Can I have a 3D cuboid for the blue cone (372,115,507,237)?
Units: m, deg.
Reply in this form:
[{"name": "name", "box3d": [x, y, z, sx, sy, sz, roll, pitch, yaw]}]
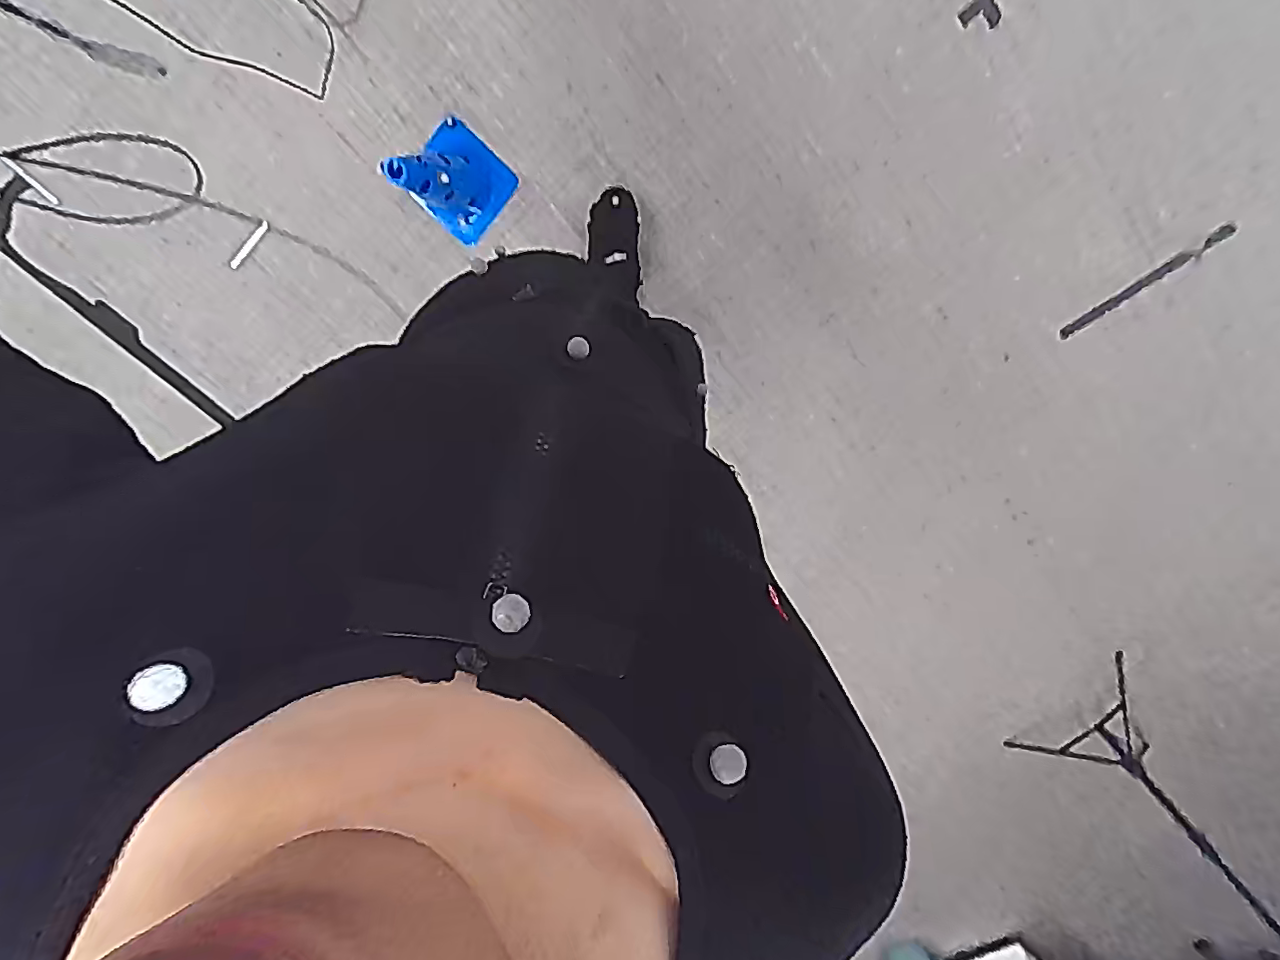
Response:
[{"name": "blue cone", "box3d": [-0.417, -0.607, 1.069, 0.192, 0.380, 0.193, 42, 109, -16]}]
